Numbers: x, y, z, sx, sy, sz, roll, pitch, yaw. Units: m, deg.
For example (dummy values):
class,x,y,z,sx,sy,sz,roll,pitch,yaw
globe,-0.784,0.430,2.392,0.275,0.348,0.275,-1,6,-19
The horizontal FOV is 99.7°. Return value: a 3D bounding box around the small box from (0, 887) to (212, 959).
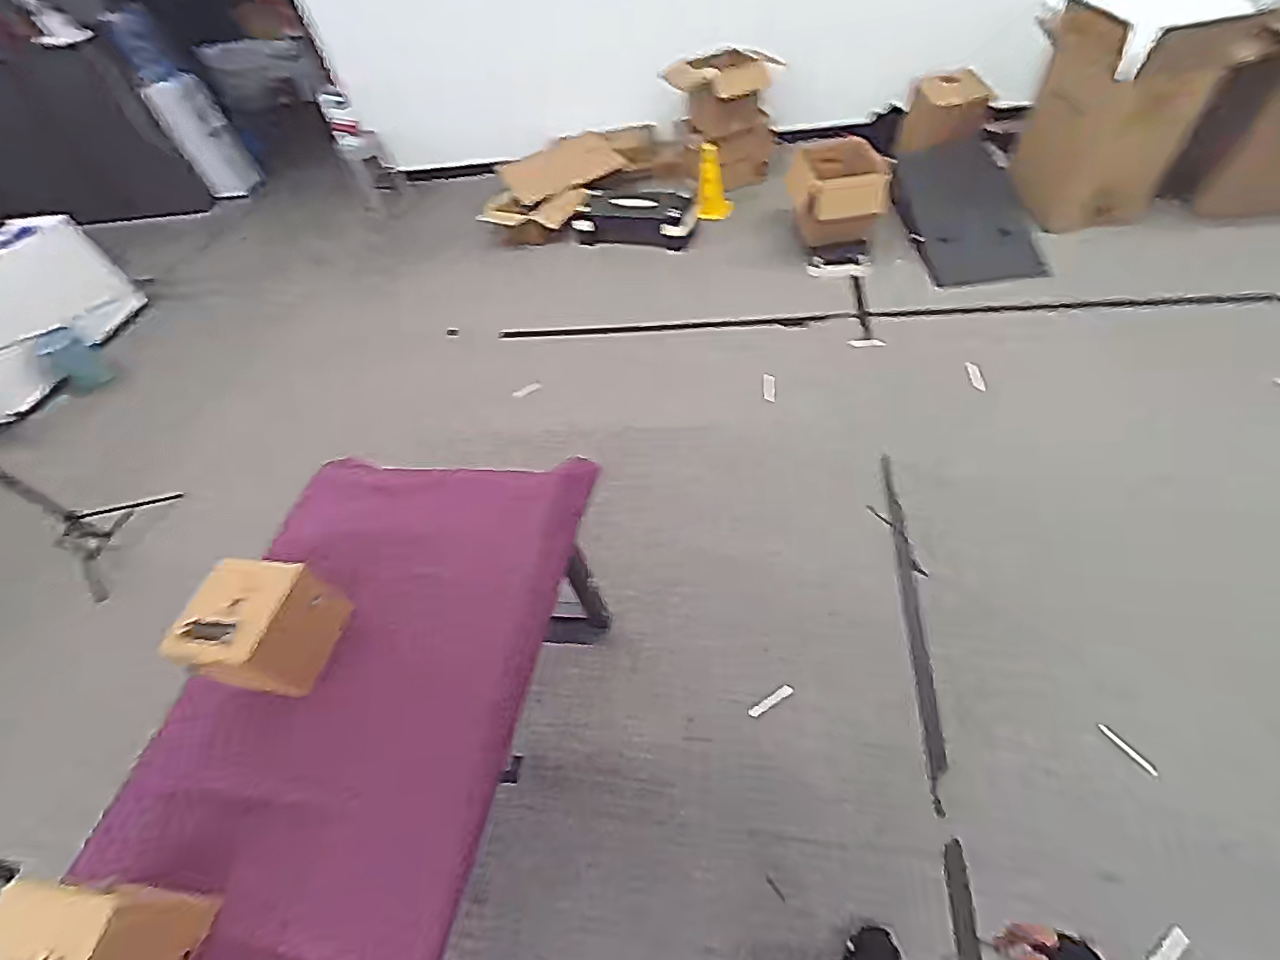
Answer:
class,x,y,z,sx,sy,sz,roll,pitch,yaw
small box,-0.707,0.626,0.681,0.179,0.176,0.168,0,52,11
